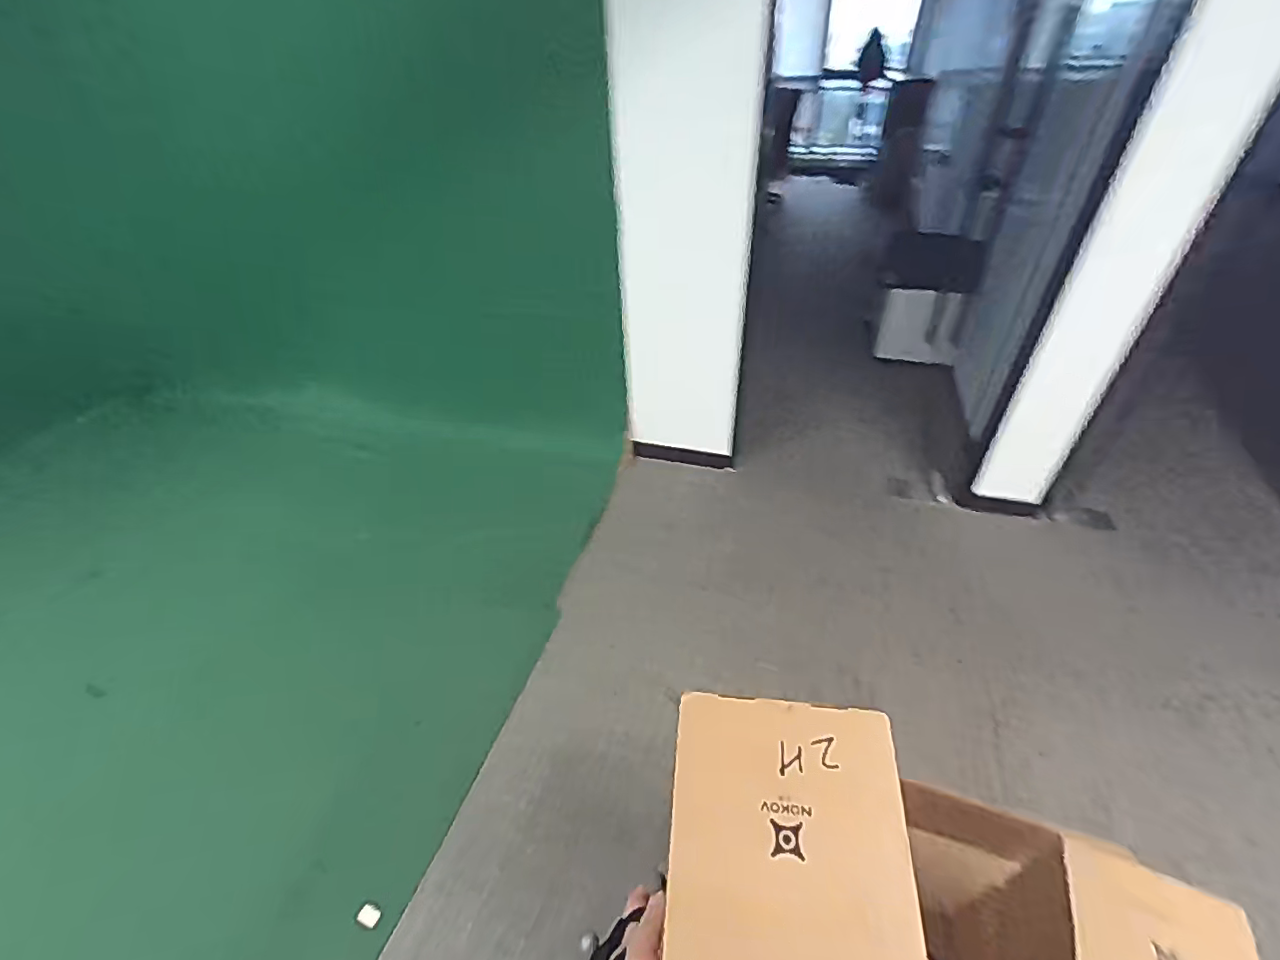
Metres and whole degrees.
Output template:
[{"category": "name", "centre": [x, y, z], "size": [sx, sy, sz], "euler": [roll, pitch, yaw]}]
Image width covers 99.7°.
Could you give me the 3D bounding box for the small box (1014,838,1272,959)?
[{"category": "small box", "centre": [0.523, 0.536, 0.574], "size": [0.168, 0.176, 0.179], "euler": [16, 42, 21]}]

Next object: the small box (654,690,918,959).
[{"category": "small box", "centre": [0.103, 0.294, 0.443], "size": [0.168, 0.176, 0.179], "euler": [4, 51, 6]}]
